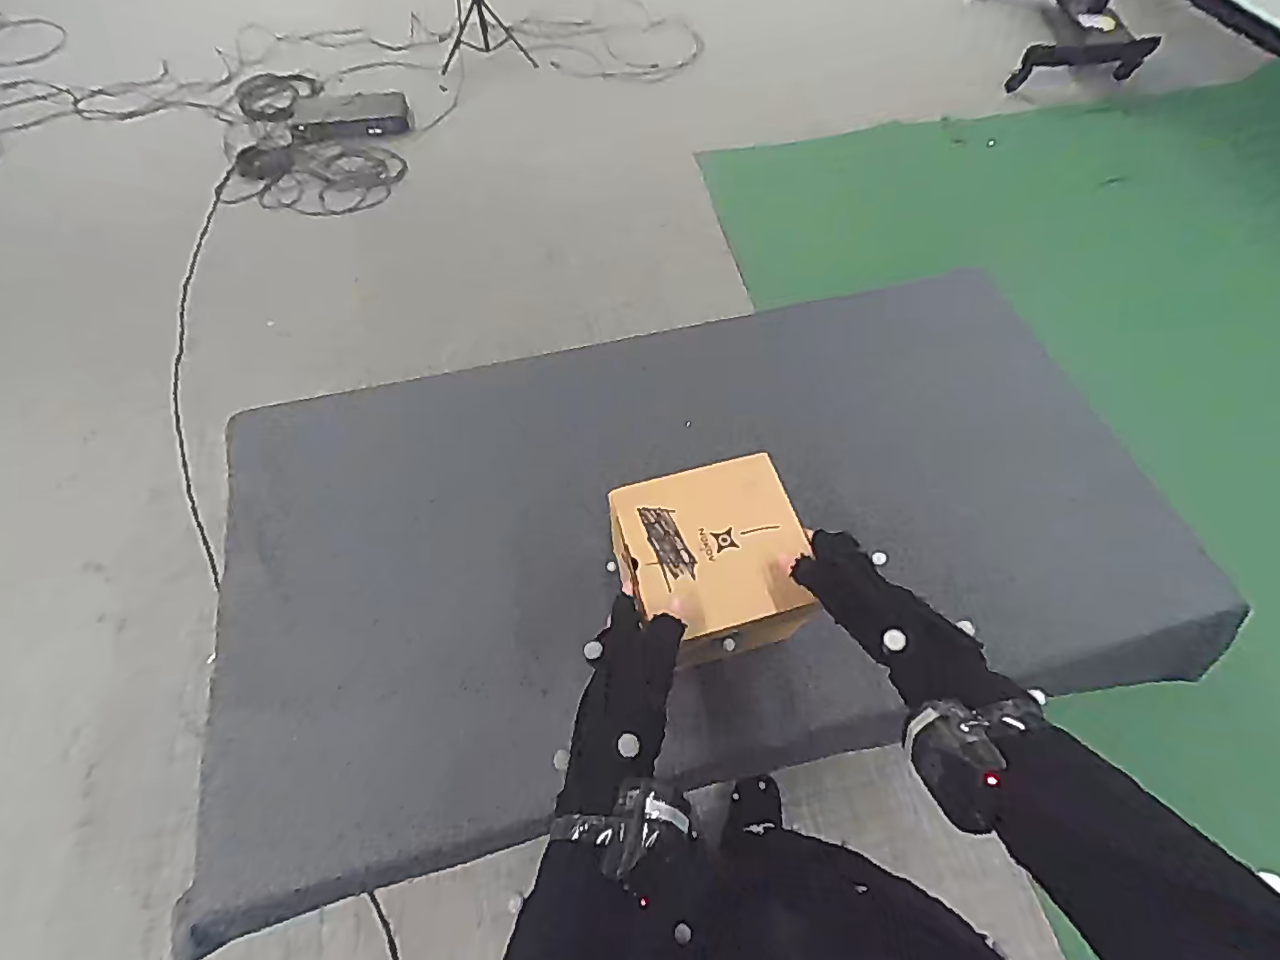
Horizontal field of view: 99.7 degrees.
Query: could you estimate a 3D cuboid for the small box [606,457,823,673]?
[{"bbox_3d":[0.069,0.101,0.597,0.179,0.176,0.168,-13,63,-7],"label":"small box"}]
